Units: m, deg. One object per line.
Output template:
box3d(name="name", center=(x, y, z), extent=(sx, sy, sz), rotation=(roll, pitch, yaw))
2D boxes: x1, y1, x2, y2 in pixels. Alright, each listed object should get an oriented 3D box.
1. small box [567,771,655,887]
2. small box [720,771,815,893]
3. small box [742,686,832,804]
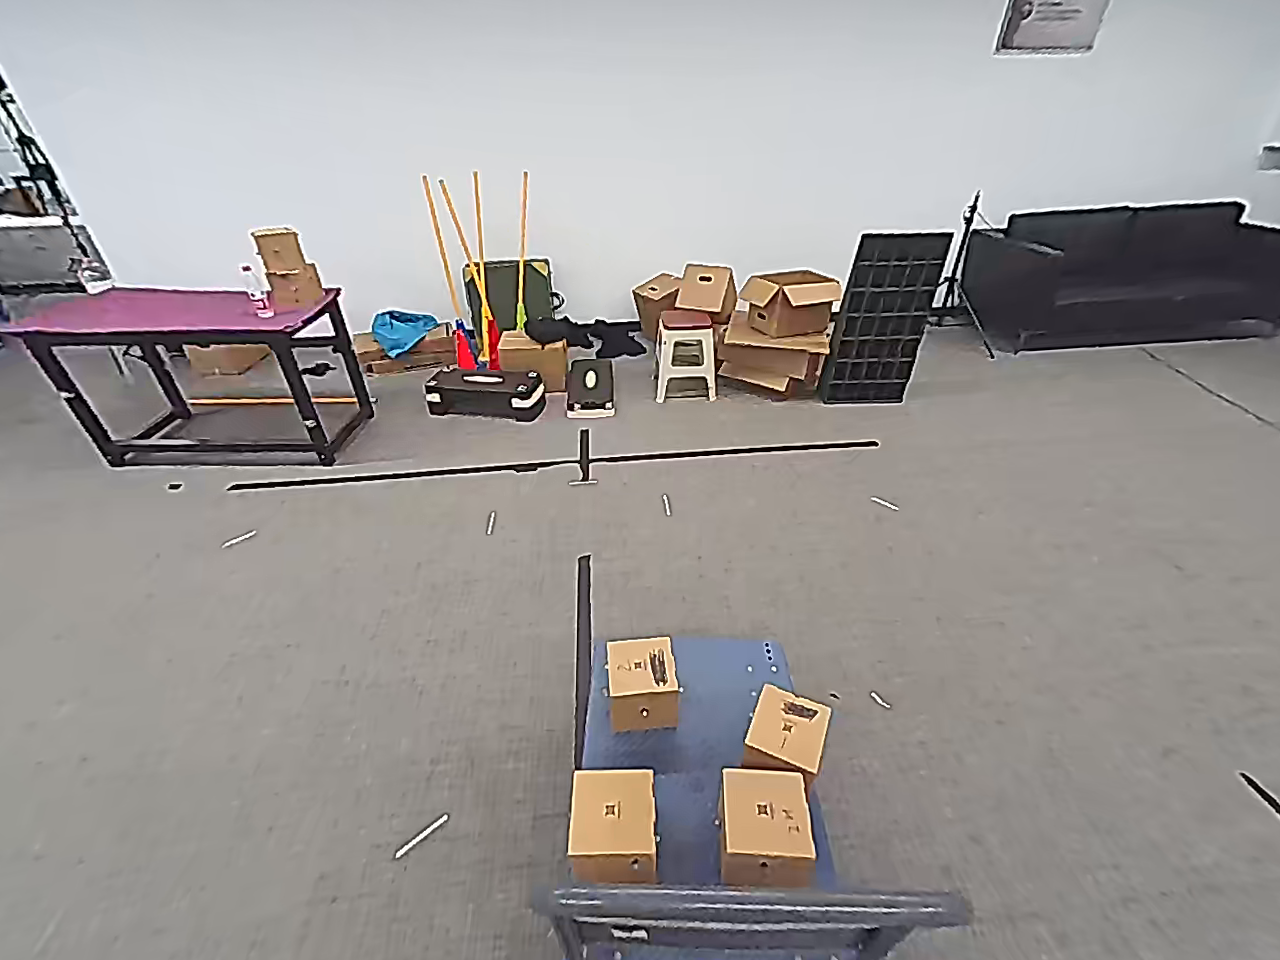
box3d(name="small box", center=(-0.057, 0.752, 1.165), extent=(0.179, 0.176, 0.168), rotation=(0, 35, -1))
box3d(name="small box", center=(0.261, 0.751, 1.154), extent=(0.179, 0.176, 0.168), rotation=(2, 35, 5))
box3d(name="small box", center=(0.351, 0.644, 1.304), extent=(0.168, 0.176, 0.179), rotation=(15, 39, 23))
